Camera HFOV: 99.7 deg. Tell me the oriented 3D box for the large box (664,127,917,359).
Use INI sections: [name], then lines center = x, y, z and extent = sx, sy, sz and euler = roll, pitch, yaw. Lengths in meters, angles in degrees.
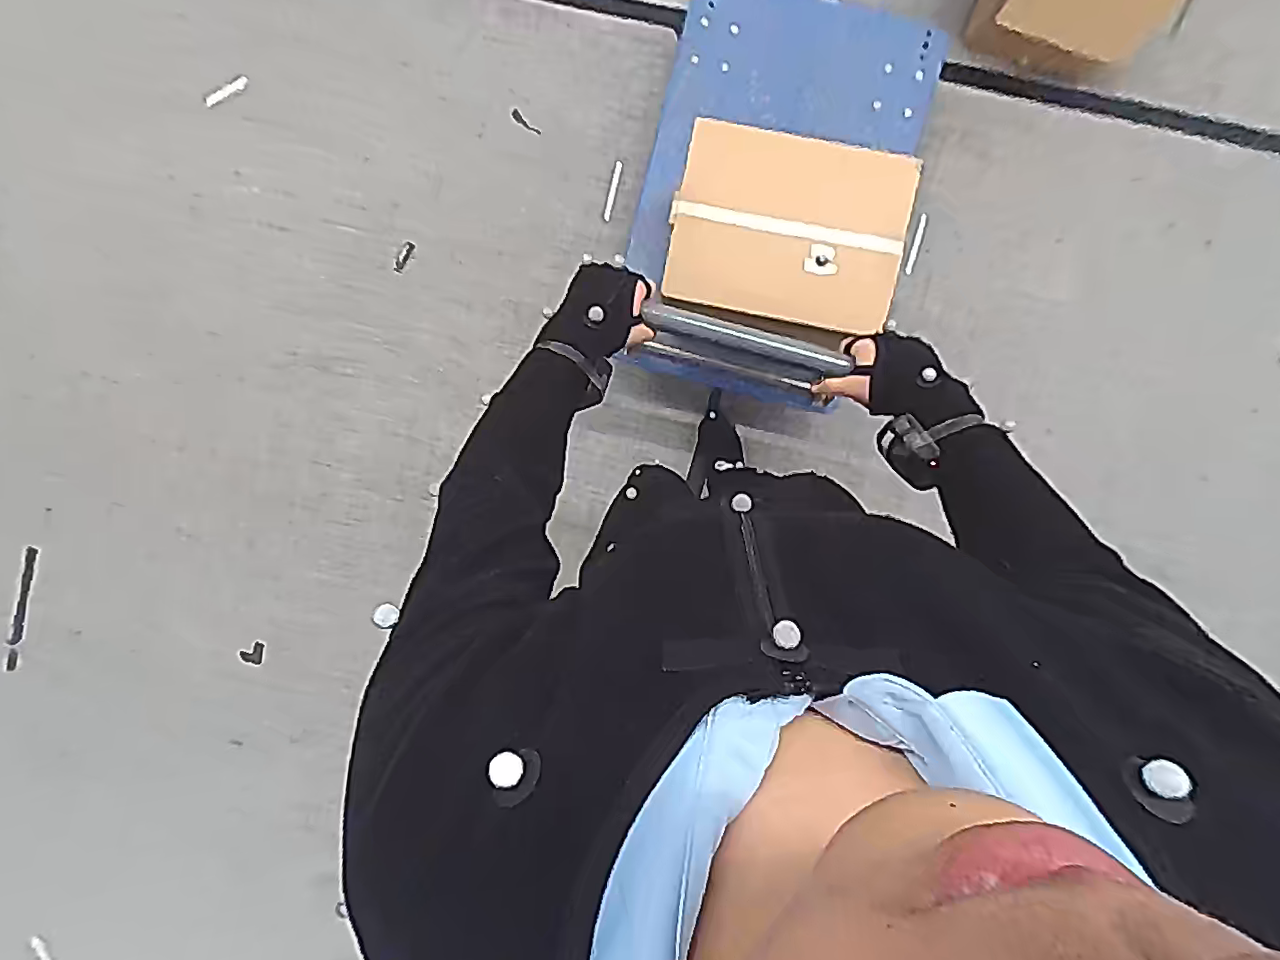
[large box]
center = 0.272, -0.457, 1.117
extent = 0.408, 0.320, 0.320
euler = 12, 96, 1
